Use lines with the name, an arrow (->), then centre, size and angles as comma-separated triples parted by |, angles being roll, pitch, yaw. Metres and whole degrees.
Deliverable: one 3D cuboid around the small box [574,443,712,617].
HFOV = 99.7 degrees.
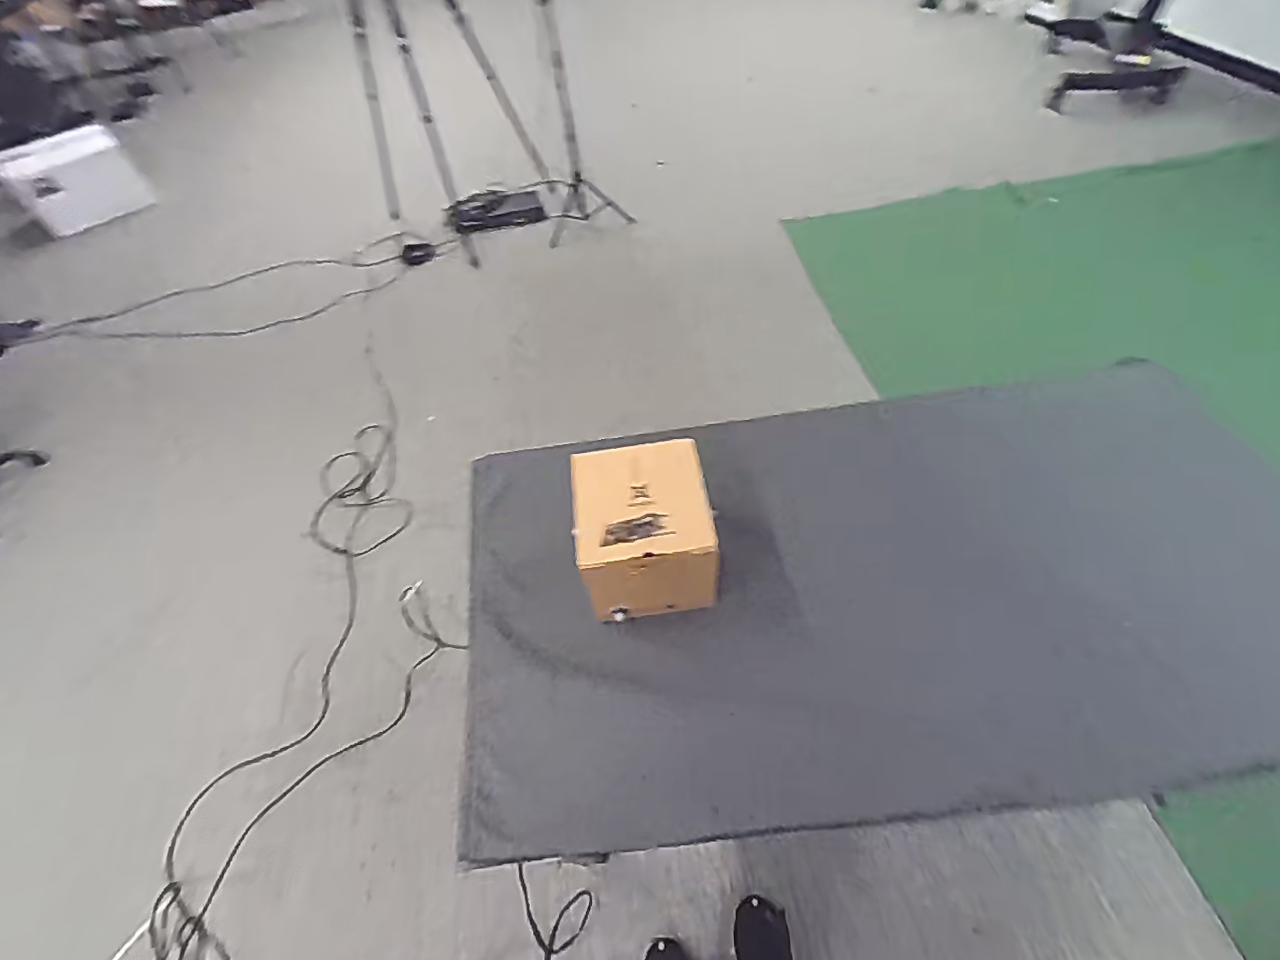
small box -> 0.006, 0.077, 0.751 | 0.168, 0.176, 0.179 | -8, 52, -1
